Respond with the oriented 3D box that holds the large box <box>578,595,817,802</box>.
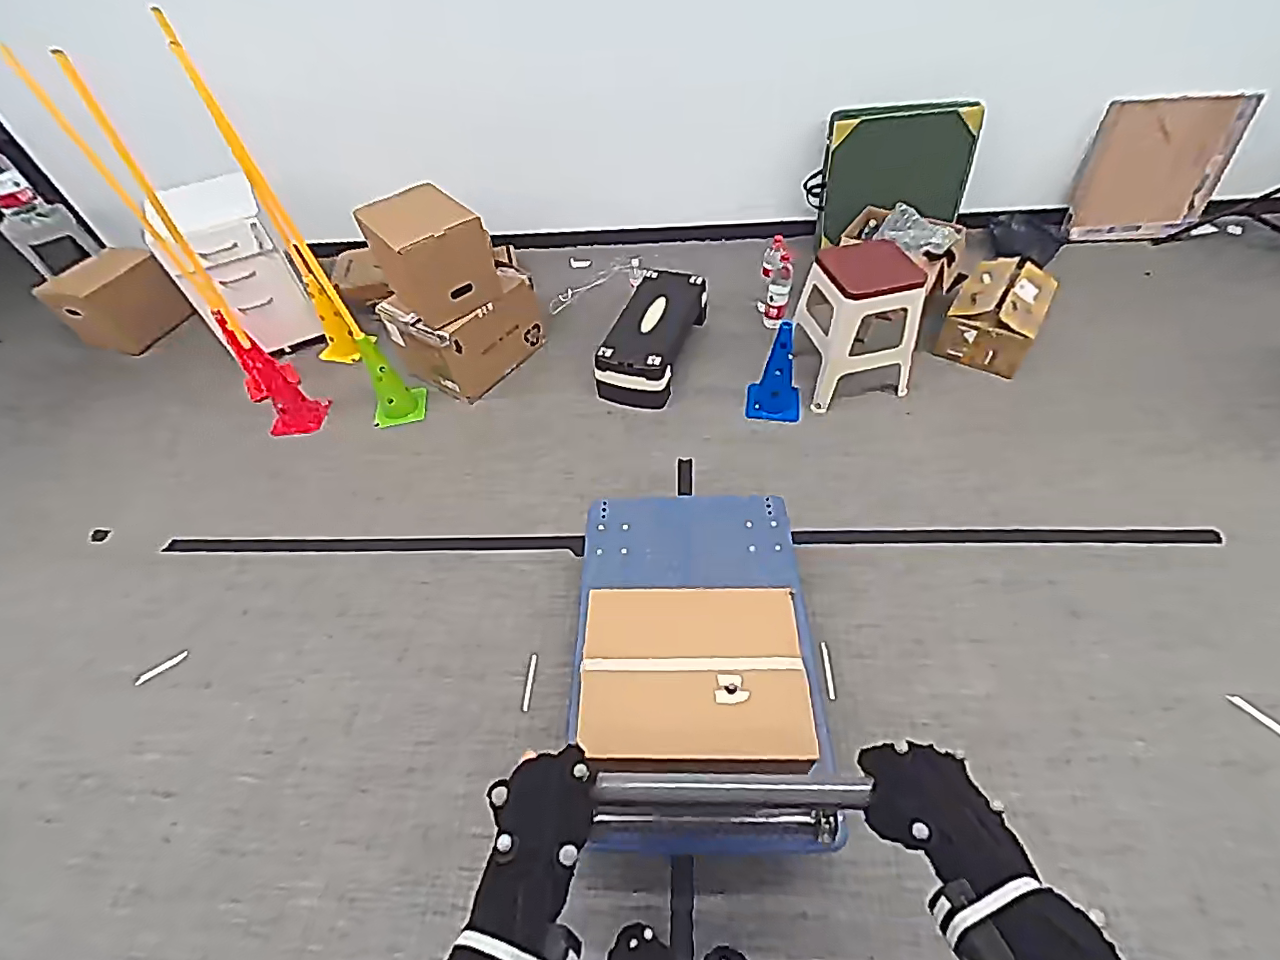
[{"bbox_3d":[0.097,0.446,1.093,0.408,0.320,0.320,-1,51,2],"label":"large box"}]
